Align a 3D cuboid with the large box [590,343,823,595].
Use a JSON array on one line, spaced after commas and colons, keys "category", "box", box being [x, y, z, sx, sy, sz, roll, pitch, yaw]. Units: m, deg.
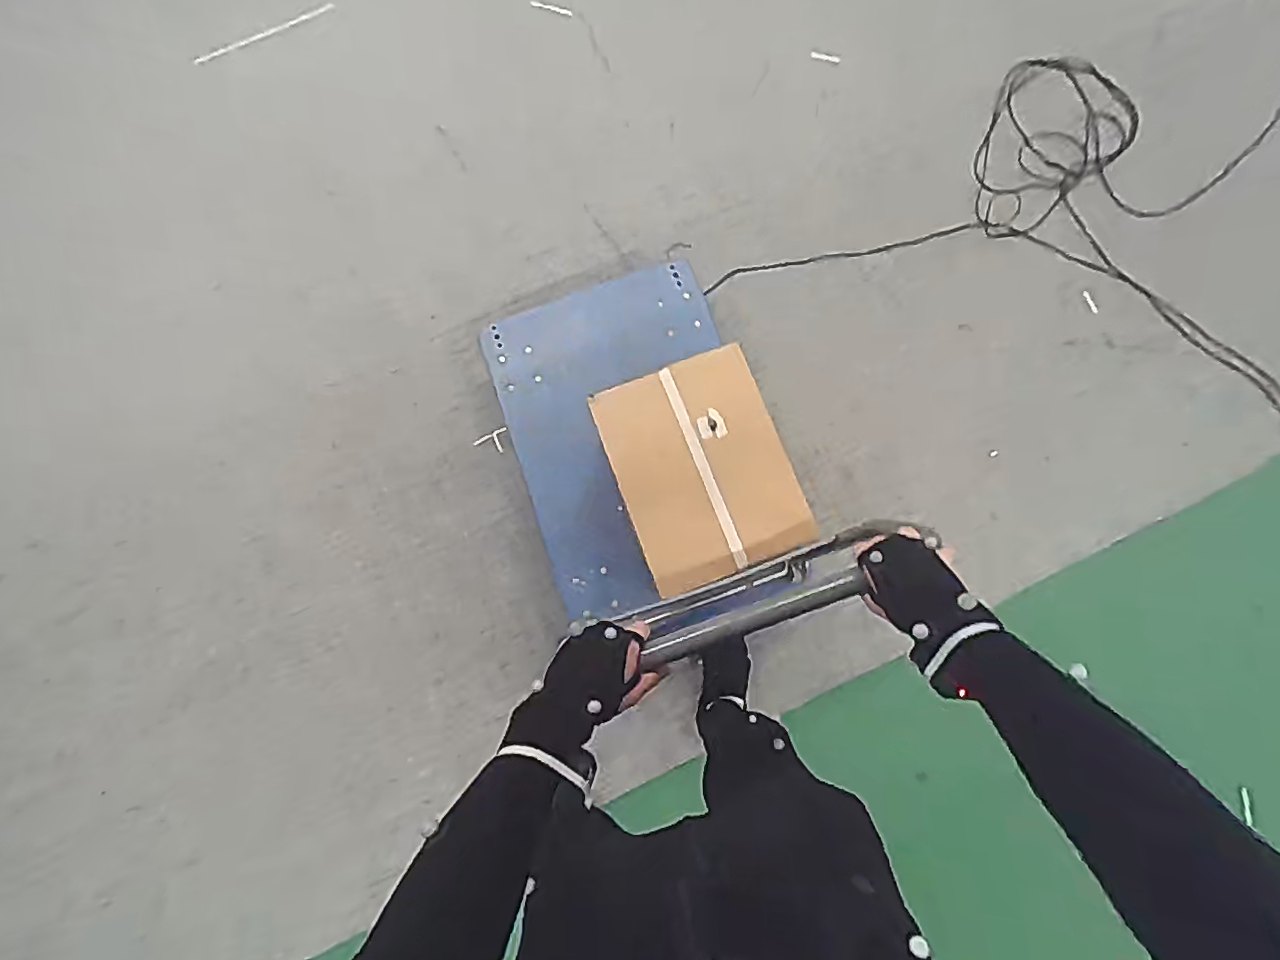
[{"category": "large box", "box": [0.123, -0.005, 1.147, 0.320, 0.320, 0.408, -21, 80, -3]}]
